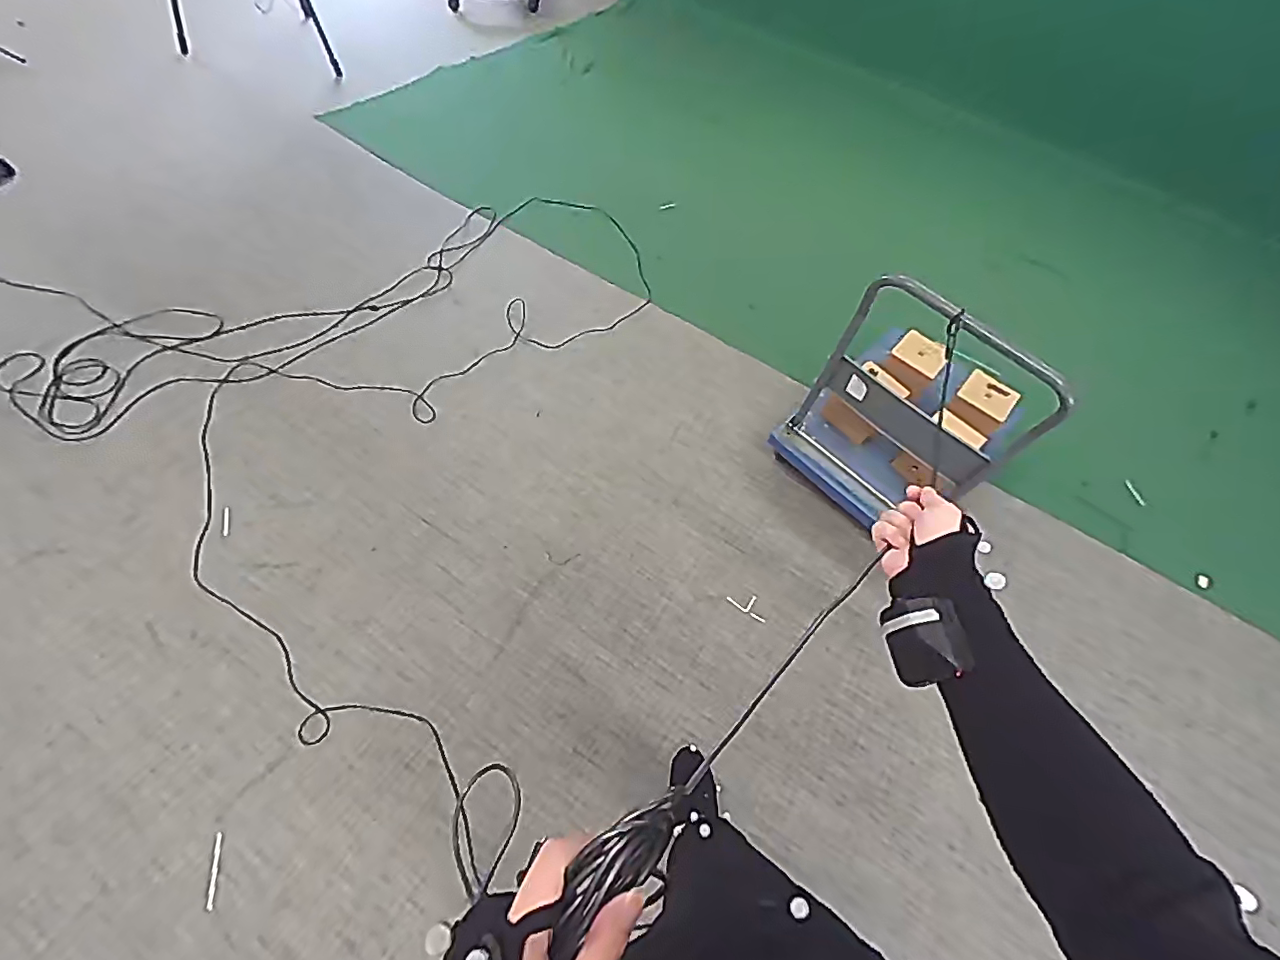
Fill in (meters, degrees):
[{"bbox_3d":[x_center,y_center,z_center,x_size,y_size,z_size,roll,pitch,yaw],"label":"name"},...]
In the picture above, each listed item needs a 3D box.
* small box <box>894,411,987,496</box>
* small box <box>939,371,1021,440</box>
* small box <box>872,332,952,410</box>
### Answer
[{"bbox_3d":[0.956,-0.083,1.736,0.179,0.176,0.168,-37,69,-26],"label":"small box"},{"bbox_3d":[1.148,-0.232,1.856,0.168,0.176,0.179,39,62,18],"label":"small box"},{"bbox_3d":[0.962,-0.384,1.928,0.168,0.176,0.179,40,61,16],"label":"small box"}]
